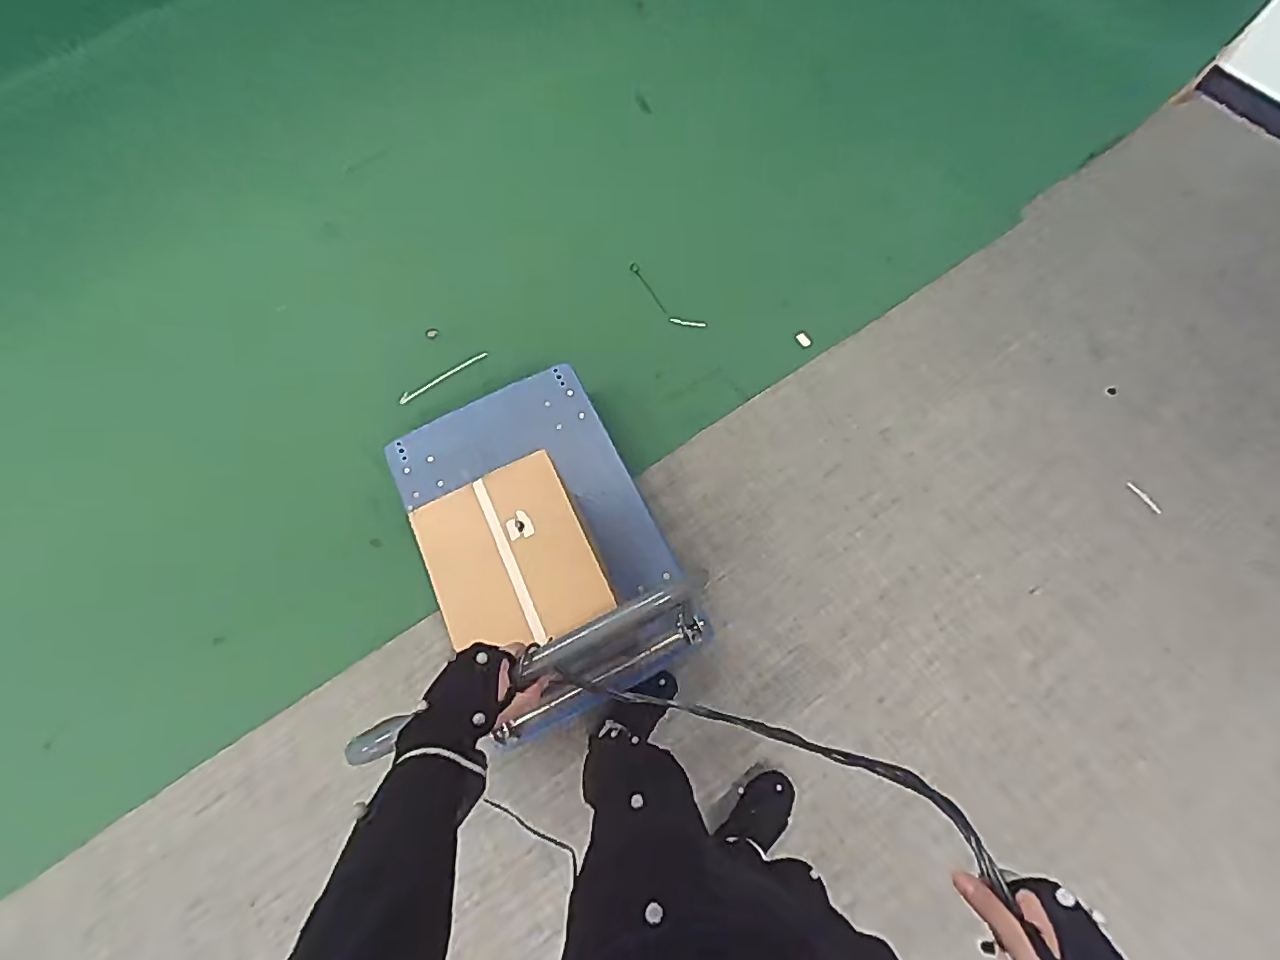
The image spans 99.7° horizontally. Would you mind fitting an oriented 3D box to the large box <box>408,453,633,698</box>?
[{"bbox_3d":[-0.246,0.220,1.203,0.320,0.320,0.408,-25,70,-6],"label":"large box"}]
